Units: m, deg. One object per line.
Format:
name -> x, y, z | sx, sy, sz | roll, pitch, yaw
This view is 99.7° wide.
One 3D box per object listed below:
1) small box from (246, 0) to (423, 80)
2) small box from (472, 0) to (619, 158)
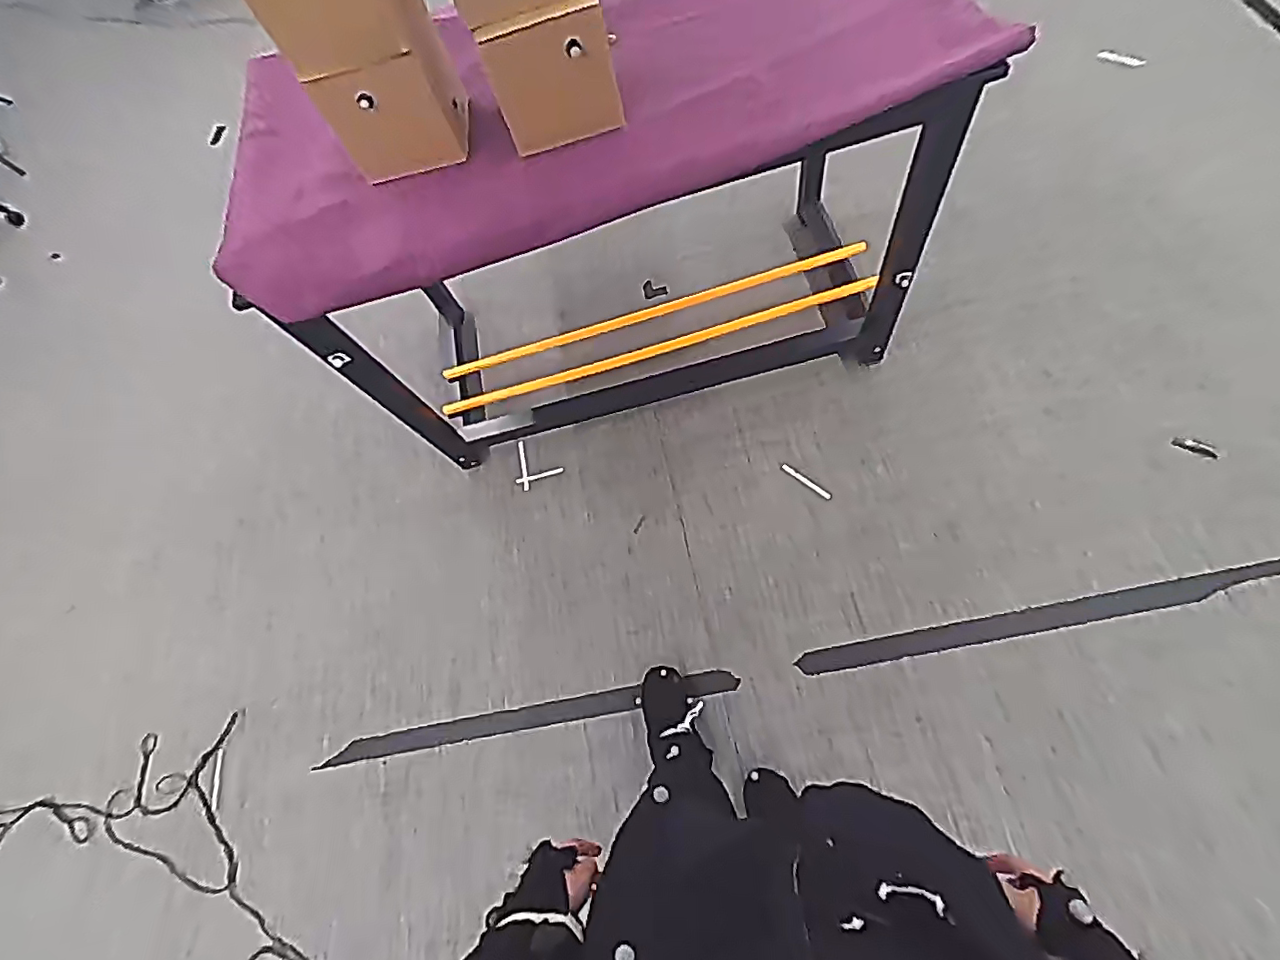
small box -> -0.410, -0.677, 0.712 | 0.179, 0.176, 0.168 | -7, 67, 9
small box -> -0.135, -0.635, 0.820 | 0.179, 0.176, 0.168 | -14, 65, 6
